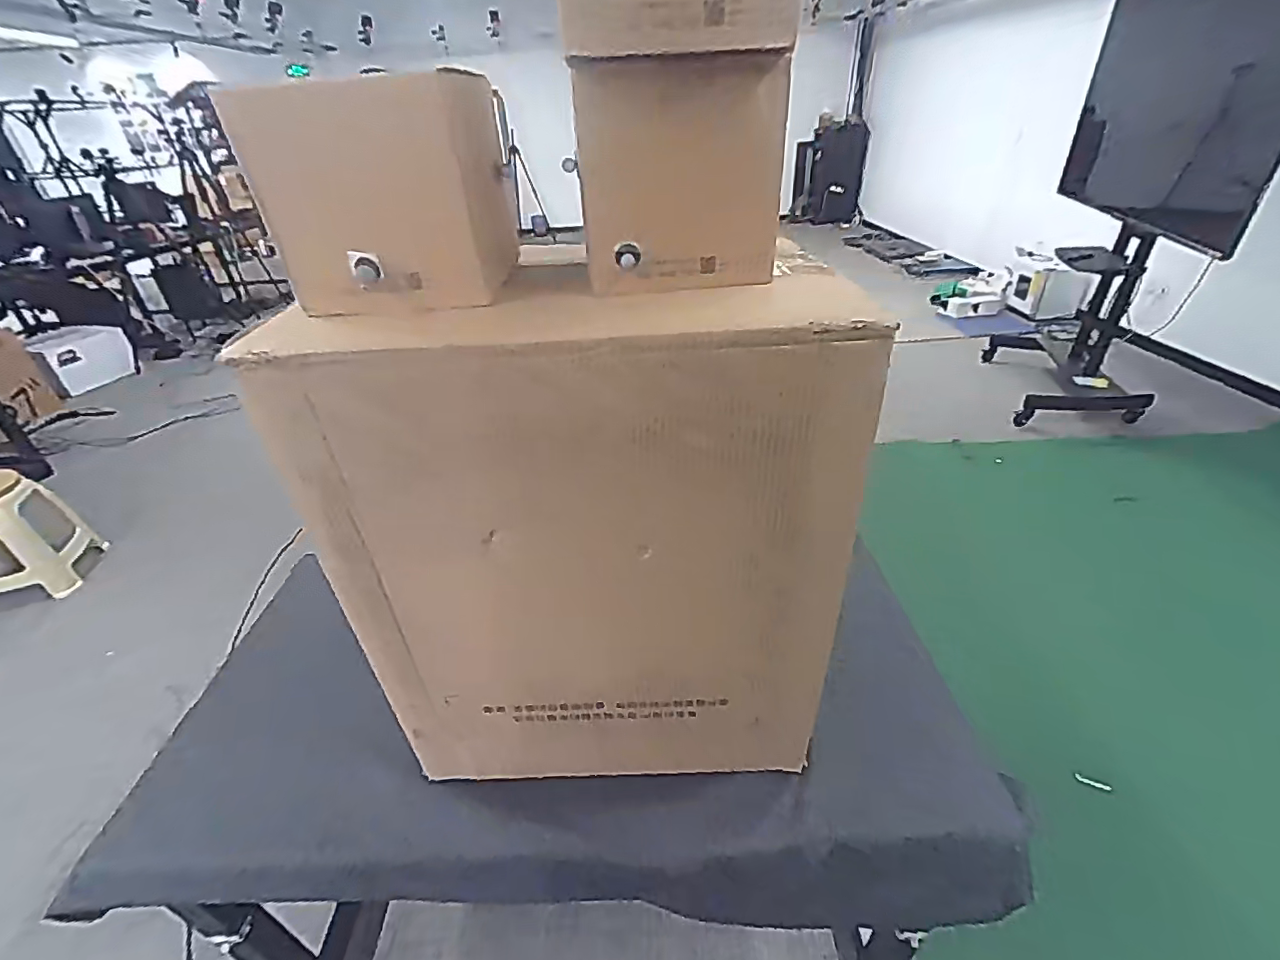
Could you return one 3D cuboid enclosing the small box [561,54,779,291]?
[{"bbox_3d":[0.021,-0.282,0.507,0.168,0.176,0.179,-7,35,-3],"label":"small box"}]

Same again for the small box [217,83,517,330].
[{"bbox_3d":[-0.218,-0.252,0.496,0.168,0.176,0.179,-6,37,1],"label":"small box"}]
